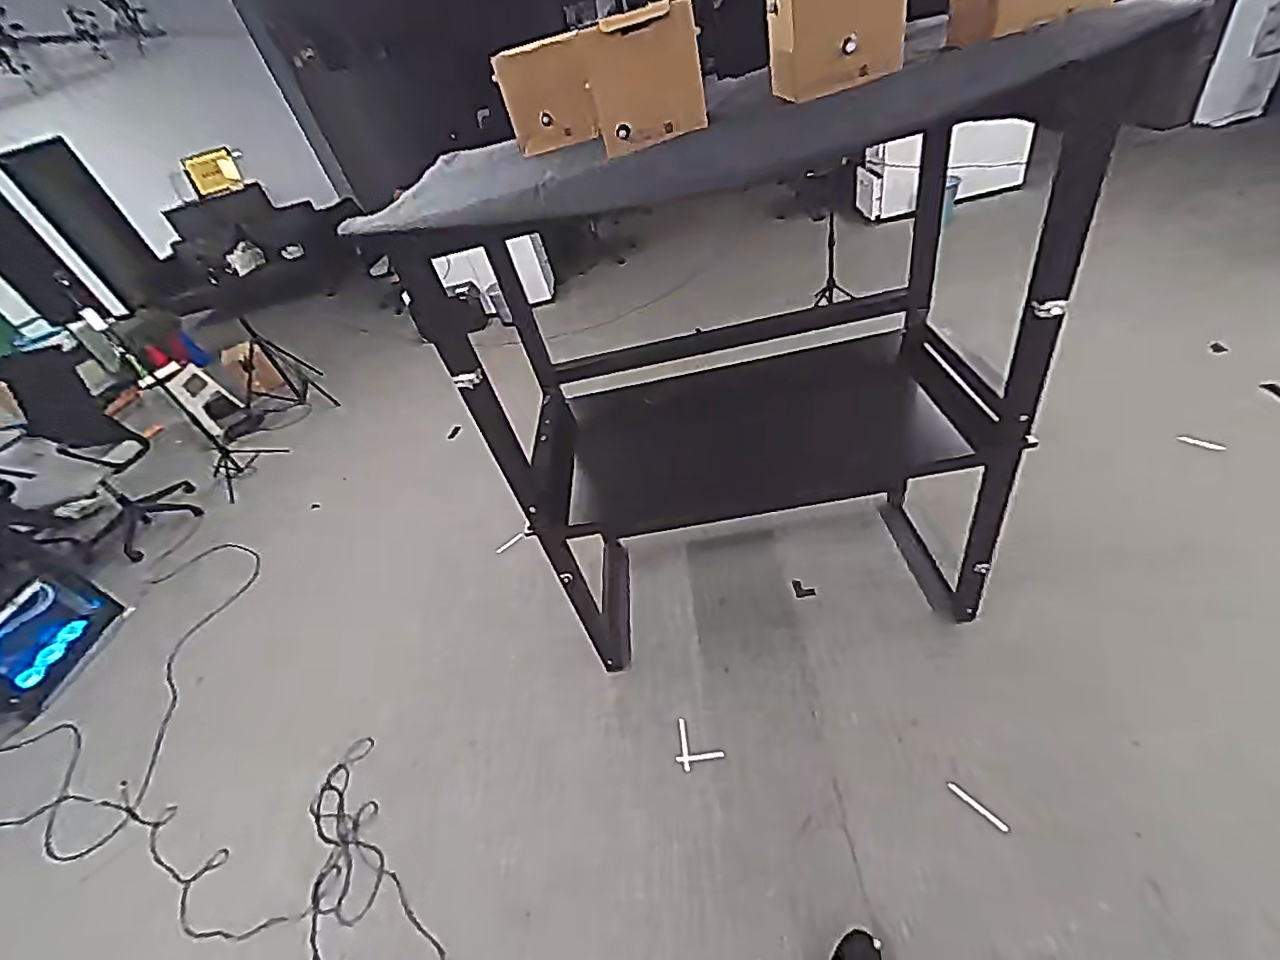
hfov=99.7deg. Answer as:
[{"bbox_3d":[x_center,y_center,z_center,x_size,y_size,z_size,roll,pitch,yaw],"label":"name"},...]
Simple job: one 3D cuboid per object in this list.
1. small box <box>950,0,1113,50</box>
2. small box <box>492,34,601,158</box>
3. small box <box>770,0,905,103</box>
[{"bbox_3d":[0.596,-0.779,0.821,0.168,0.176,0.179,-11,39,9],"label":"small box"},{"bbox_3d":[-0.179,-0.774,1.094,0.168,0.176,0.179,-12,41,6],"label":"small box"},{"bbox_3d":[0.304,-0.722,0.860,0.168,0.176,0.179,-11,39,8],"label":"small box"}]
